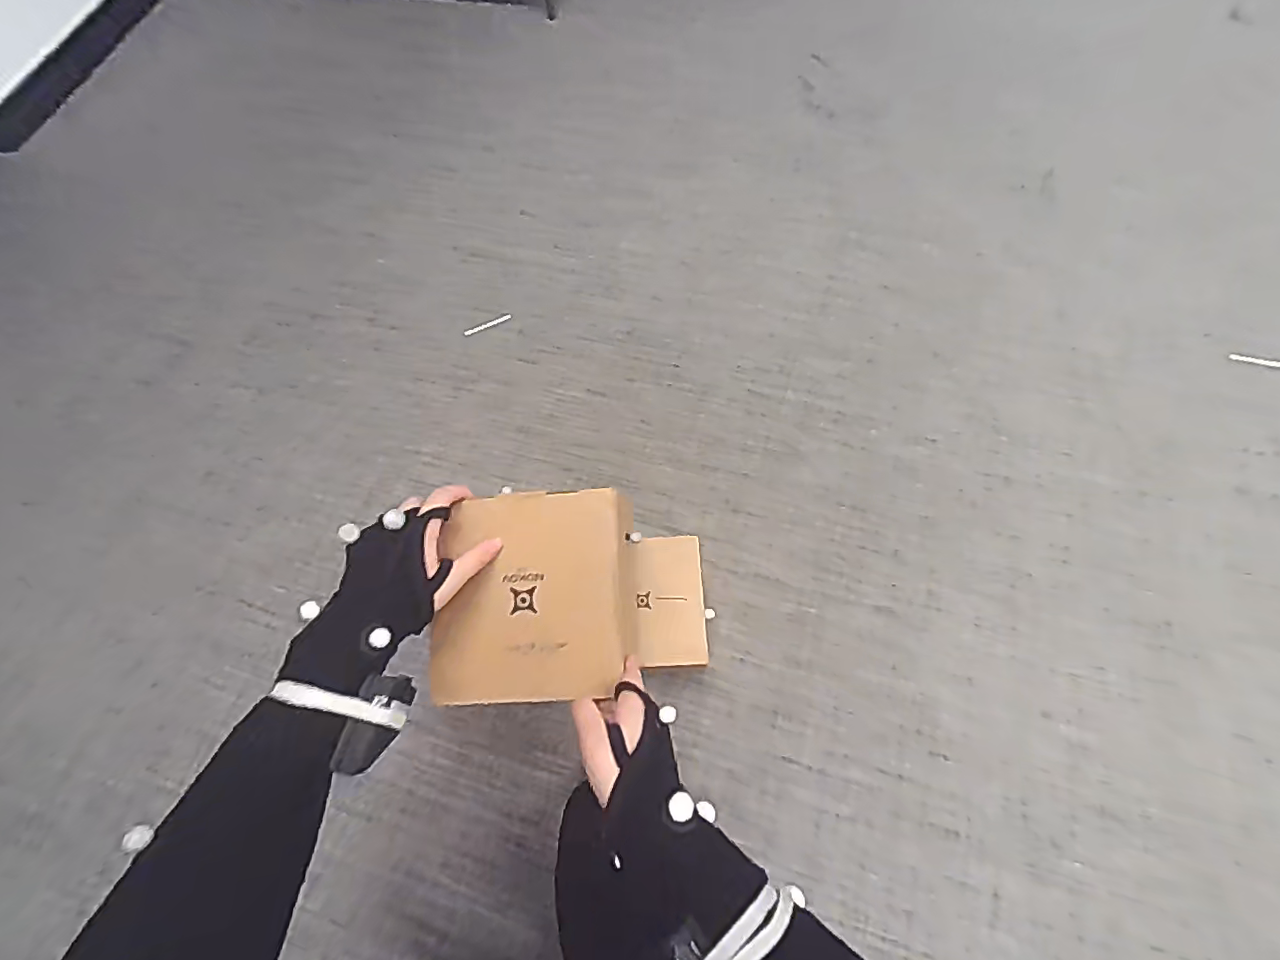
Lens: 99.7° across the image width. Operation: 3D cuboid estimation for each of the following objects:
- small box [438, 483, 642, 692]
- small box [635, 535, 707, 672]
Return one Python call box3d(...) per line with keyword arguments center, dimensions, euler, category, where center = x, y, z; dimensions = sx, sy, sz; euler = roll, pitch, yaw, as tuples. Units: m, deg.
box3d(center=(-0.087, 0.102, 0.543), dimensions=(0.168, 0.176, 0.179), euler=(-3, 83, 4), category="small box")
box3d(center=(0.003, 0.184, 0.774), dimensions=(0.179, 0.176, 0.168), euler=(-4, 68, 4), category="small box")
